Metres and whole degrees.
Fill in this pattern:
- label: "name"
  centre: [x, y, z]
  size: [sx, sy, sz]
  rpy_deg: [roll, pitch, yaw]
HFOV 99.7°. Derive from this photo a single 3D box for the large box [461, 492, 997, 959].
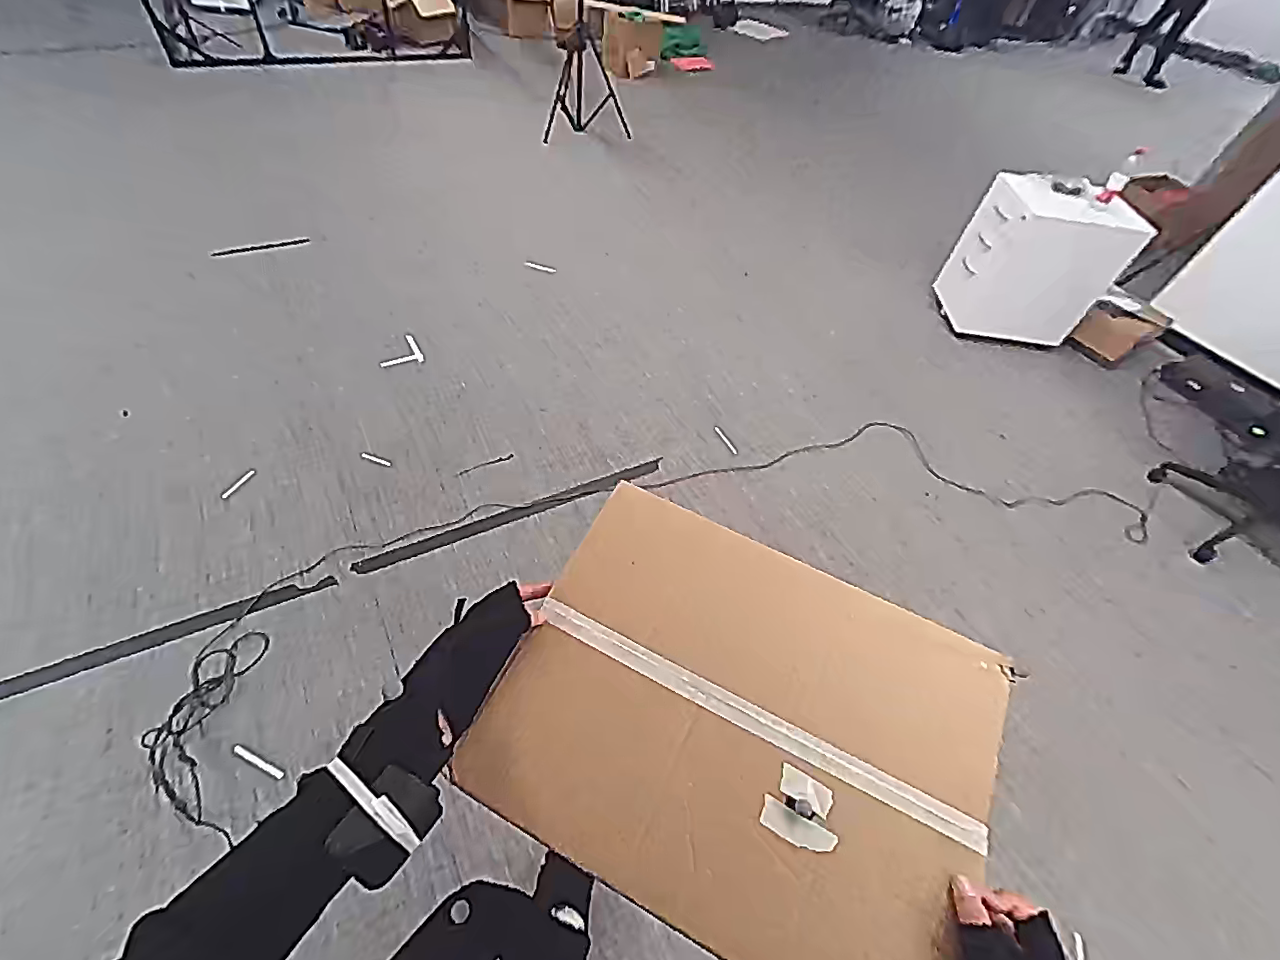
- label: "large box"
  centre: [0.086, 0.279, 0.605]
  size: [0.408, 0.320, 0.320]
  rpy_deg: [25, 63, 12]
